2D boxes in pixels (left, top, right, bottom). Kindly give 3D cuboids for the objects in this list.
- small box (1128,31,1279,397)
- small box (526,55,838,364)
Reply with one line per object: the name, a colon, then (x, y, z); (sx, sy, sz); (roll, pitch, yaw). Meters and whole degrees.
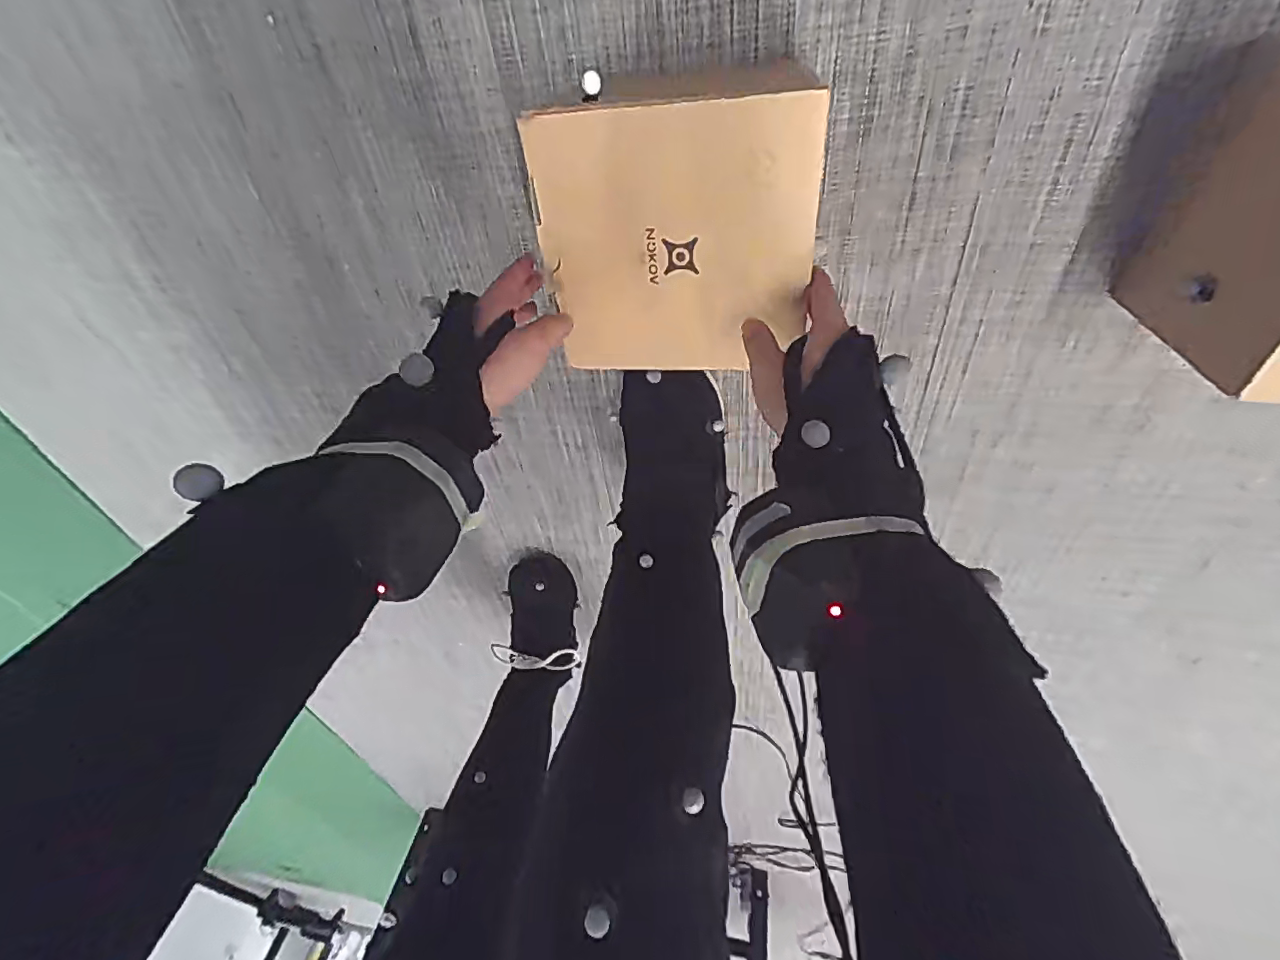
small box: (0.462, -0.164, 0.333); (0.168, 0.176, 0.179); (5, 131, 8)
small box: (0.039, -0.202, 0.405); (0.179, 0.176, 0.168); (3, 131, 12)
